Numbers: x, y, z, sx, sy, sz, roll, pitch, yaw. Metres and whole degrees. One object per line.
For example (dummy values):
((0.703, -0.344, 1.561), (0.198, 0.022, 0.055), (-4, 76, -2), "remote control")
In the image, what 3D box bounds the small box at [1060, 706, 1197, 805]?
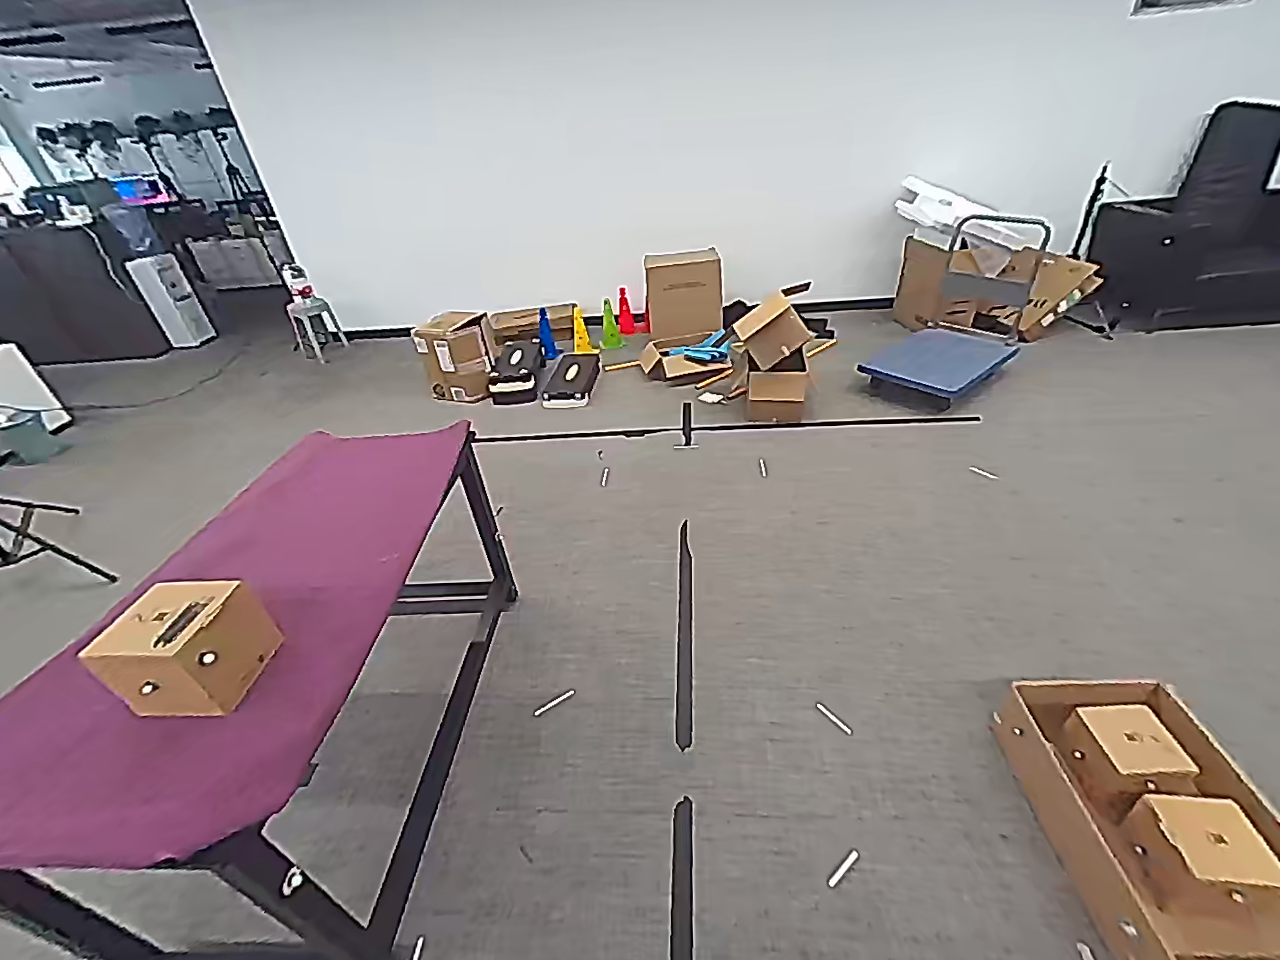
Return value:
((1.192, 0.685, 1.342), (0.179, 0.176, 0.168), (-4, 36, 3), "small box")

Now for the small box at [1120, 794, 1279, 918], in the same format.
((1.203, 0.810, 1.164), (0.179, 0.176, 0.168), (0, 34, 9), "small box")
